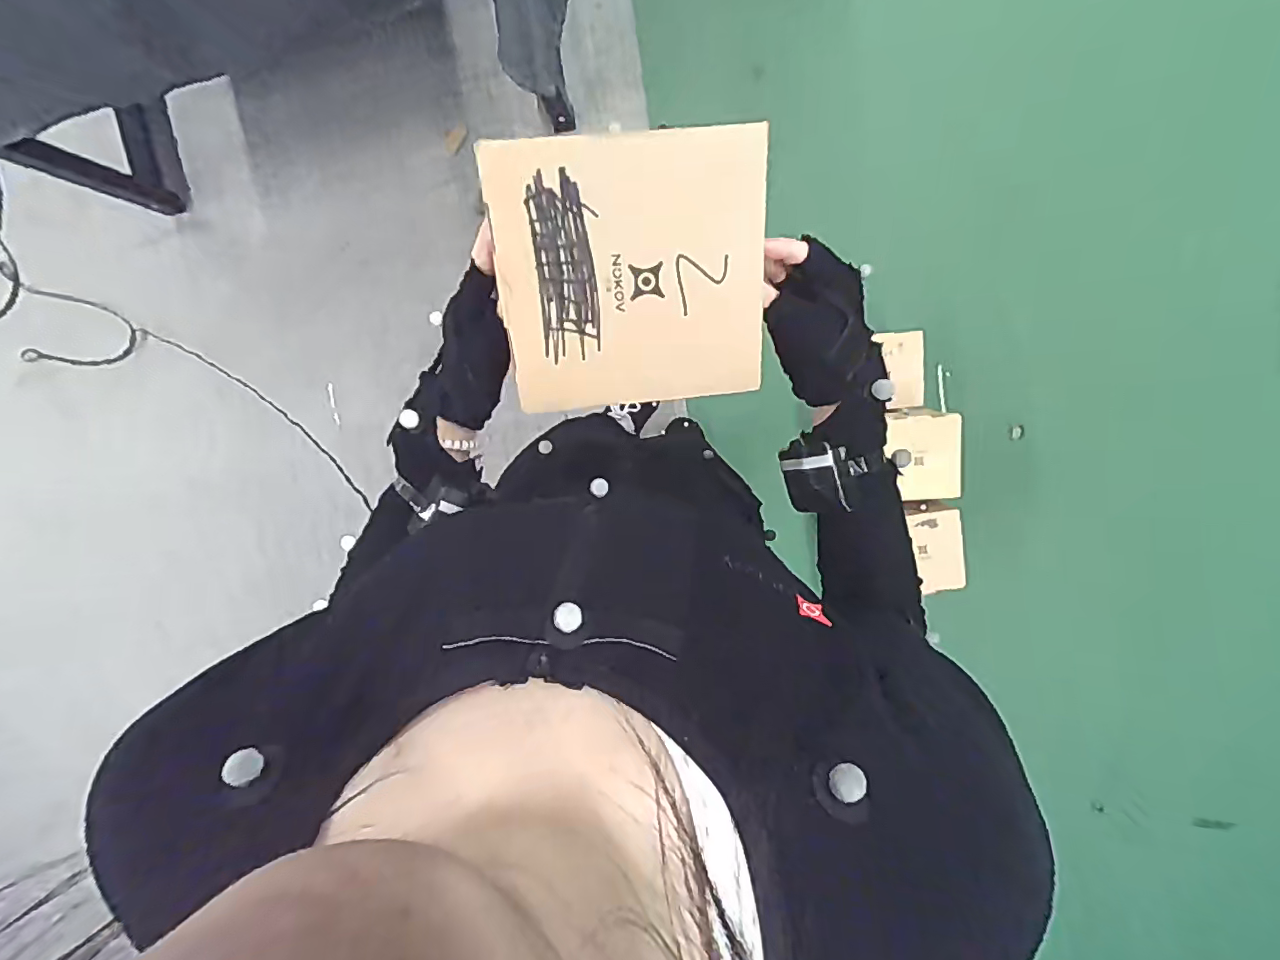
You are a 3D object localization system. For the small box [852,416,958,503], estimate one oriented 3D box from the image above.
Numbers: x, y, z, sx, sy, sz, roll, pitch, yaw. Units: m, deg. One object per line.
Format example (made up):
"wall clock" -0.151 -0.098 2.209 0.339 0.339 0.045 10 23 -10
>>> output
"small box" 0.580 -0.051 1.201 0.168 0.176 0.179 -3 97 6

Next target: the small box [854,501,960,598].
"small box" 0.599 0.148 1.227 0.168 0.176 0.179 -8 99 6
